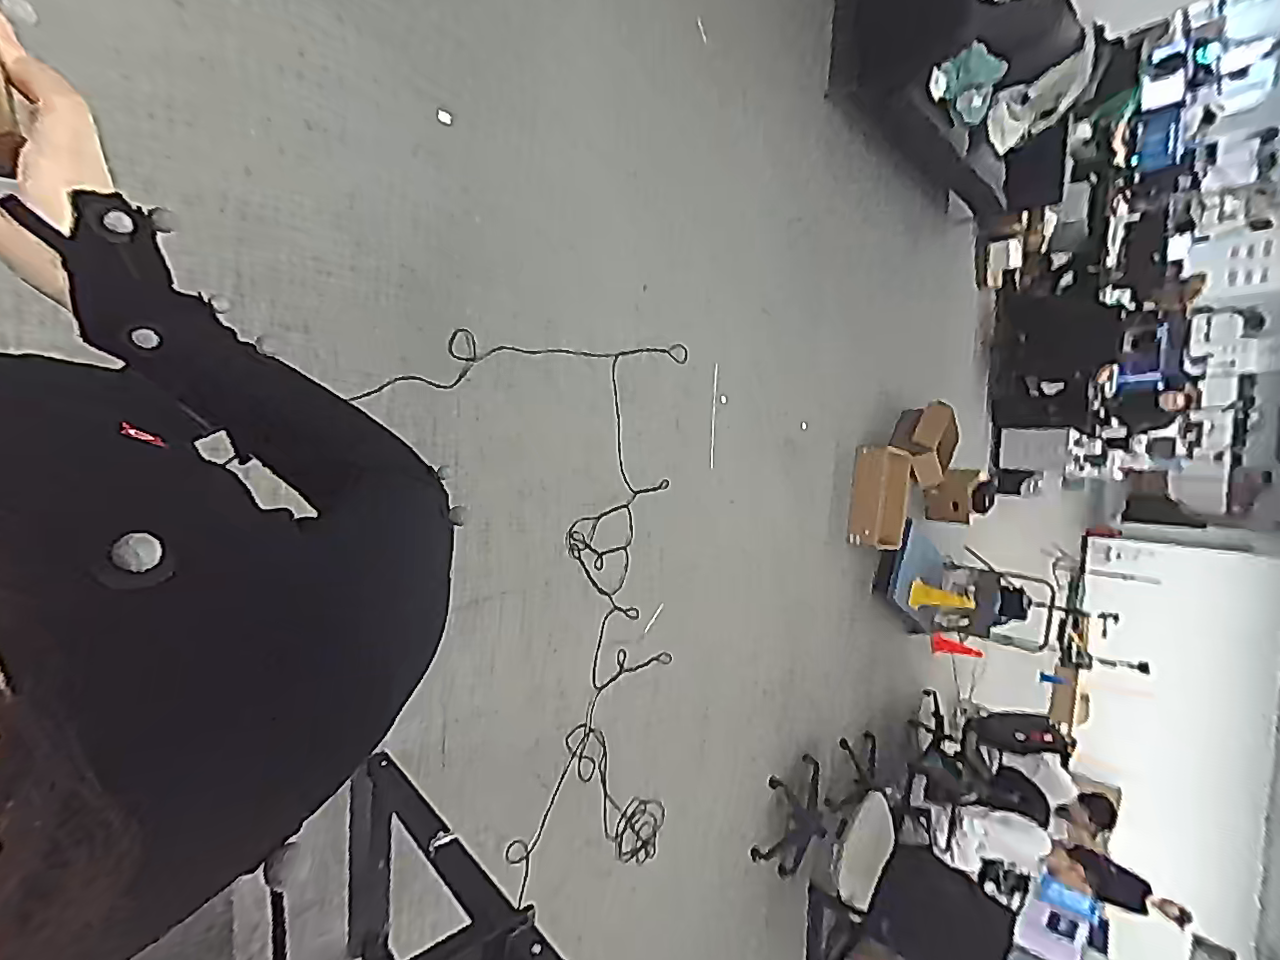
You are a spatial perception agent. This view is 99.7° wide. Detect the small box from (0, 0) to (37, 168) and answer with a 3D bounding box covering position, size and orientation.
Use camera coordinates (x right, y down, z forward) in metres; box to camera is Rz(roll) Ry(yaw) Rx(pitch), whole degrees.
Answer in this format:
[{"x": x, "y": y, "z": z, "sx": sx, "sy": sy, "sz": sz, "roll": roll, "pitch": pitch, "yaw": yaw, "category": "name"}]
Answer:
[{"x": -0.395, "y": -0.258, "z": 0.220, "sx": 0.179, "sy": 0.176, "sz": 0.168, "roll": -10, "pitch": 98, "yaw": -45, "category": "small box"}]
